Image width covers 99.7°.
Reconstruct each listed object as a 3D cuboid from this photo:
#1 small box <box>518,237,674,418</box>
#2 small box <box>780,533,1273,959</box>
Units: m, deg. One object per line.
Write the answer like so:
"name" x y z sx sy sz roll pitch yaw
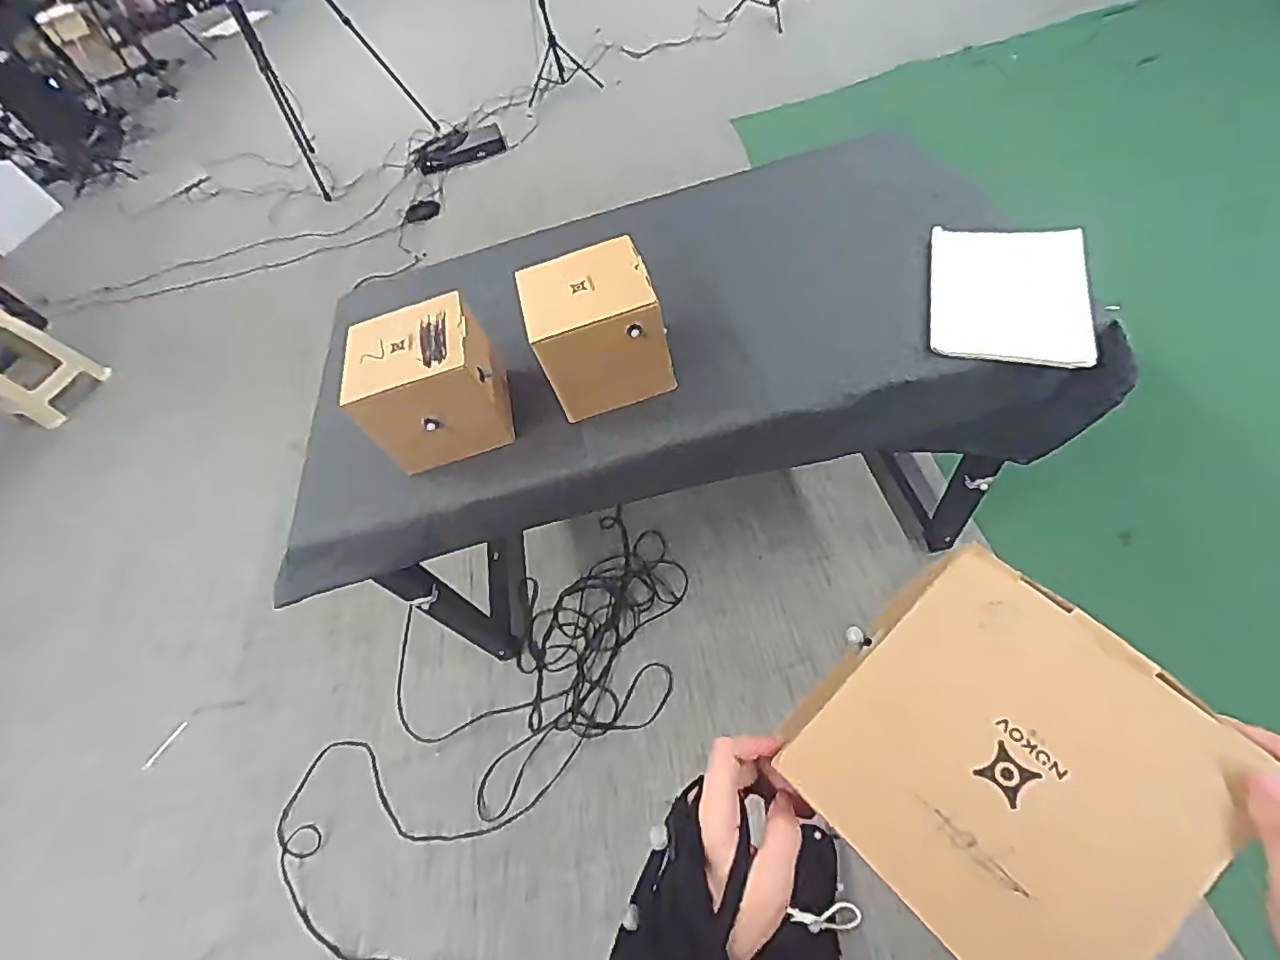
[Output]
"small box" -0.062 -0.219 0.802 0.179 0.176 0.168 -18 55 1
"small box" 0.207 0.166 0.354 0.168 0.176 0.179 42 85 23
